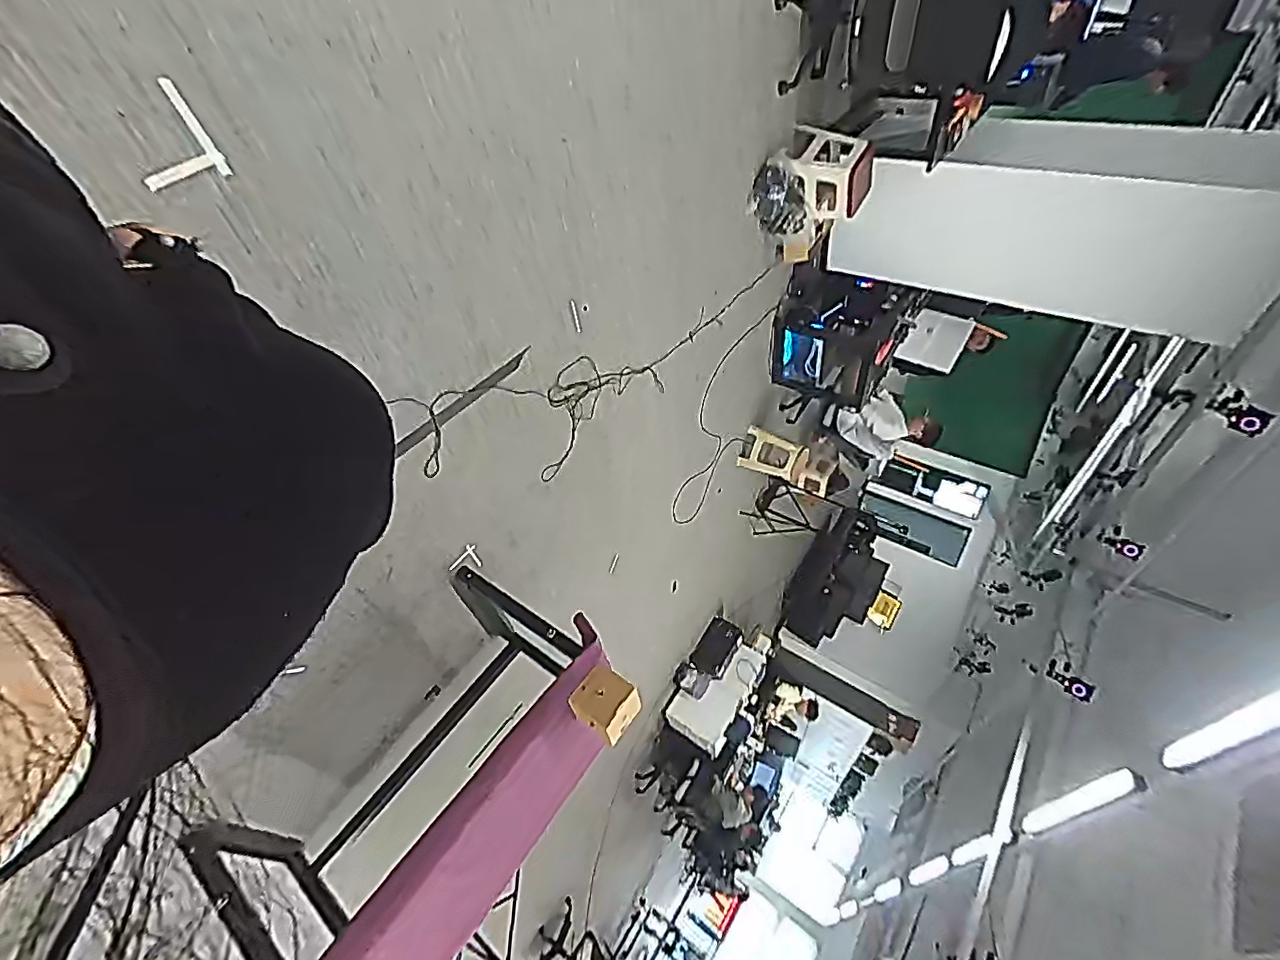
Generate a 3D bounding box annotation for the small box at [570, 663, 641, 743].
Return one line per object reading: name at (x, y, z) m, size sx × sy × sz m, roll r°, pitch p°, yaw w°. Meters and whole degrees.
small box at (-0.120, 0.757, 1.852) m, size 0.168 × 0.176 × 0.179 m, roll -46°, pitch 146°, yaw -30°
